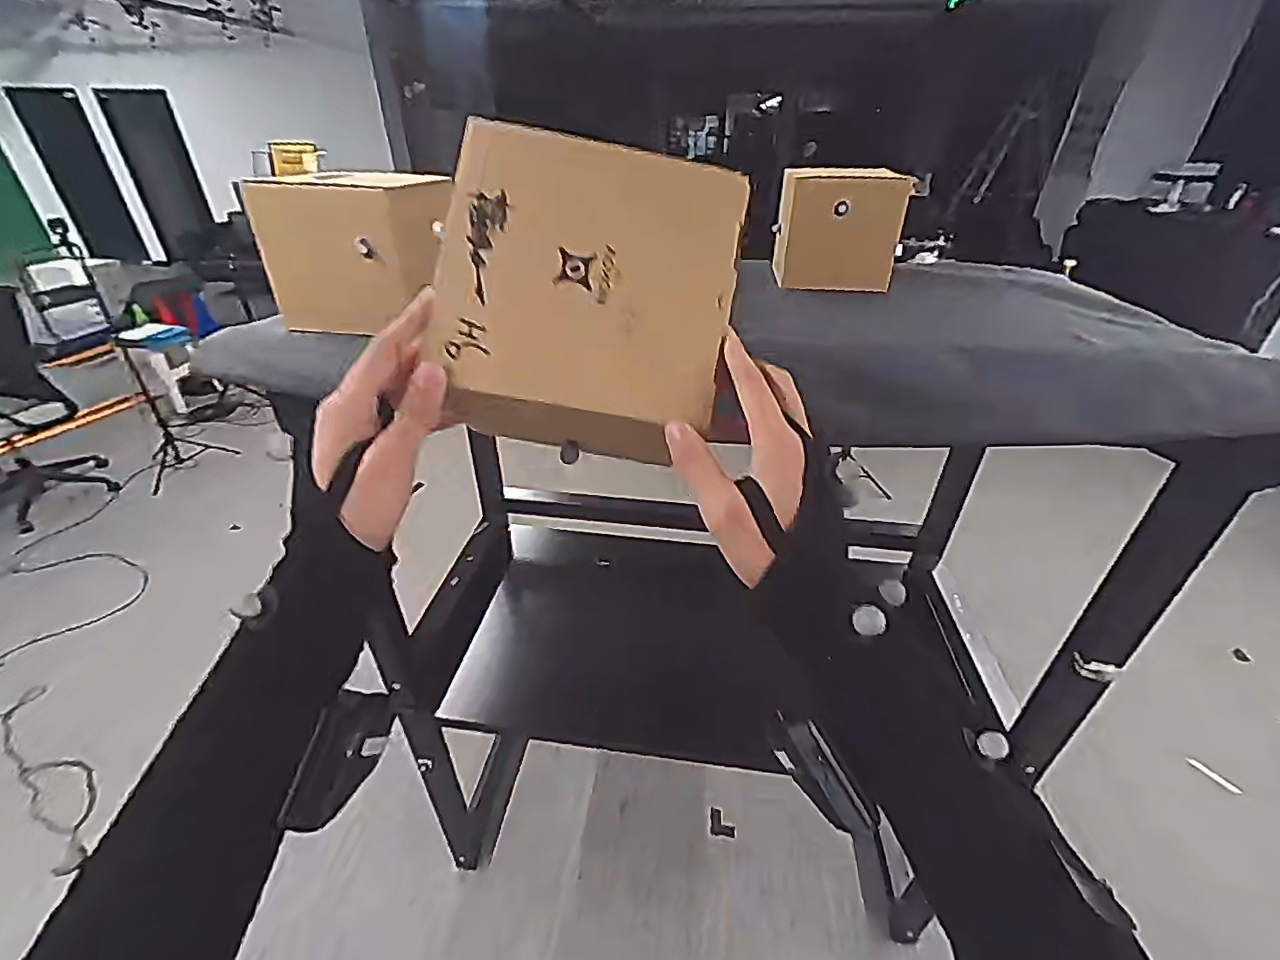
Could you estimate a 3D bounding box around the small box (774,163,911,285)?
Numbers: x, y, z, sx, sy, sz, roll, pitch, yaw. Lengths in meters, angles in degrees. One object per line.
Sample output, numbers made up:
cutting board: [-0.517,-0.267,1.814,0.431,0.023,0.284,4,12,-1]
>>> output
small box: [0.324,-0.431,0.908,0.179,0.176,0.168,4,34,6]

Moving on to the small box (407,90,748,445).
small box: [-0.040,-0.127,0.394,0.179,0.168,0.176,10,-7,-5]
